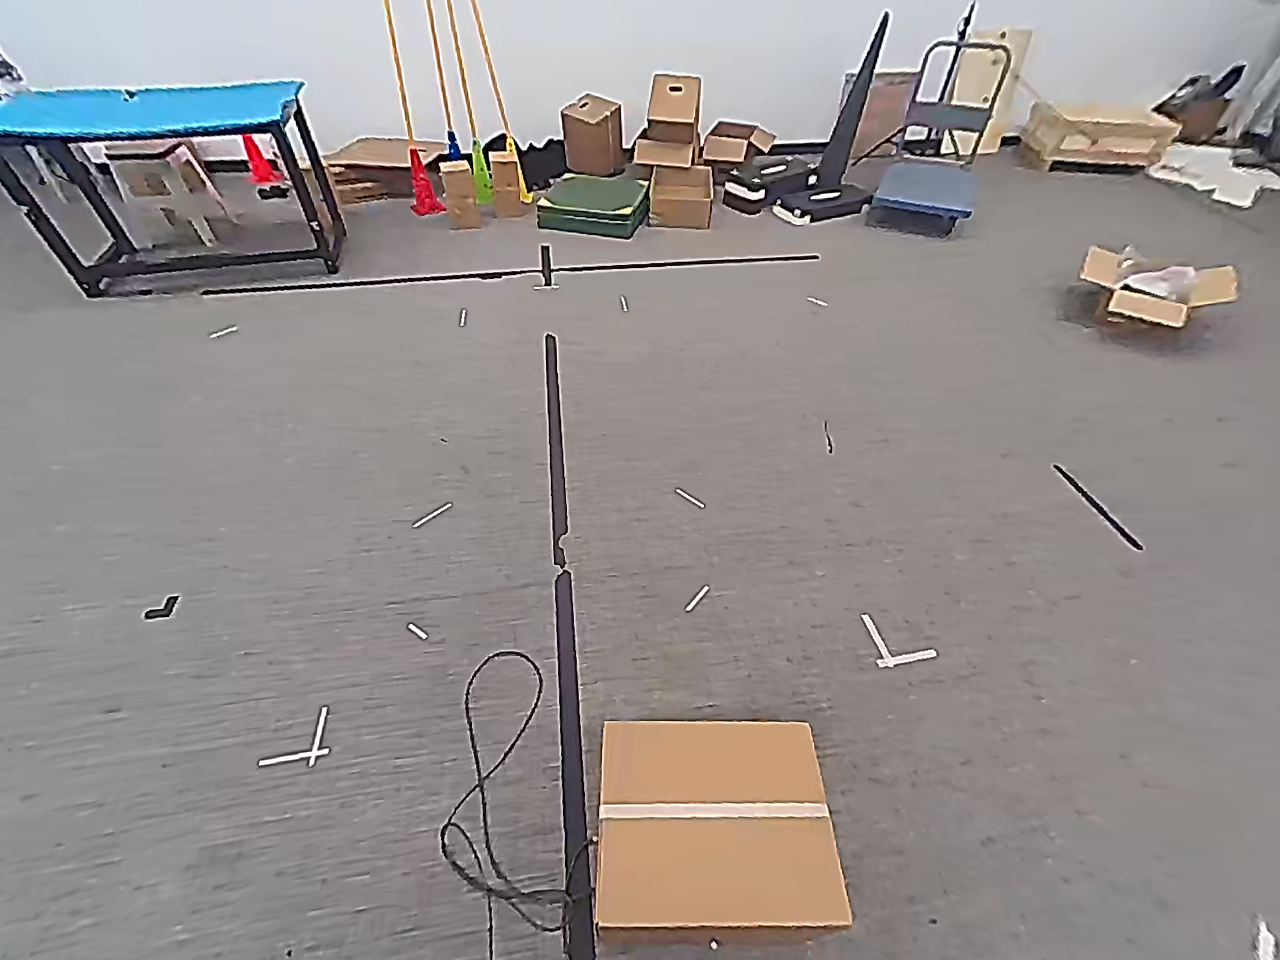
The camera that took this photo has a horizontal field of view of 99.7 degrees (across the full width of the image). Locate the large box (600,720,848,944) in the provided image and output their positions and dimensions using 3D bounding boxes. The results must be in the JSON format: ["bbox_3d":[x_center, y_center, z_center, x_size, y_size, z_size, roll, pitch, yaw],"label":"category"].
[{"bbox_3d":[0.126,0.689,1.060,0.408,0.320,0.320,1,46,-2],"label":"large box"}]
